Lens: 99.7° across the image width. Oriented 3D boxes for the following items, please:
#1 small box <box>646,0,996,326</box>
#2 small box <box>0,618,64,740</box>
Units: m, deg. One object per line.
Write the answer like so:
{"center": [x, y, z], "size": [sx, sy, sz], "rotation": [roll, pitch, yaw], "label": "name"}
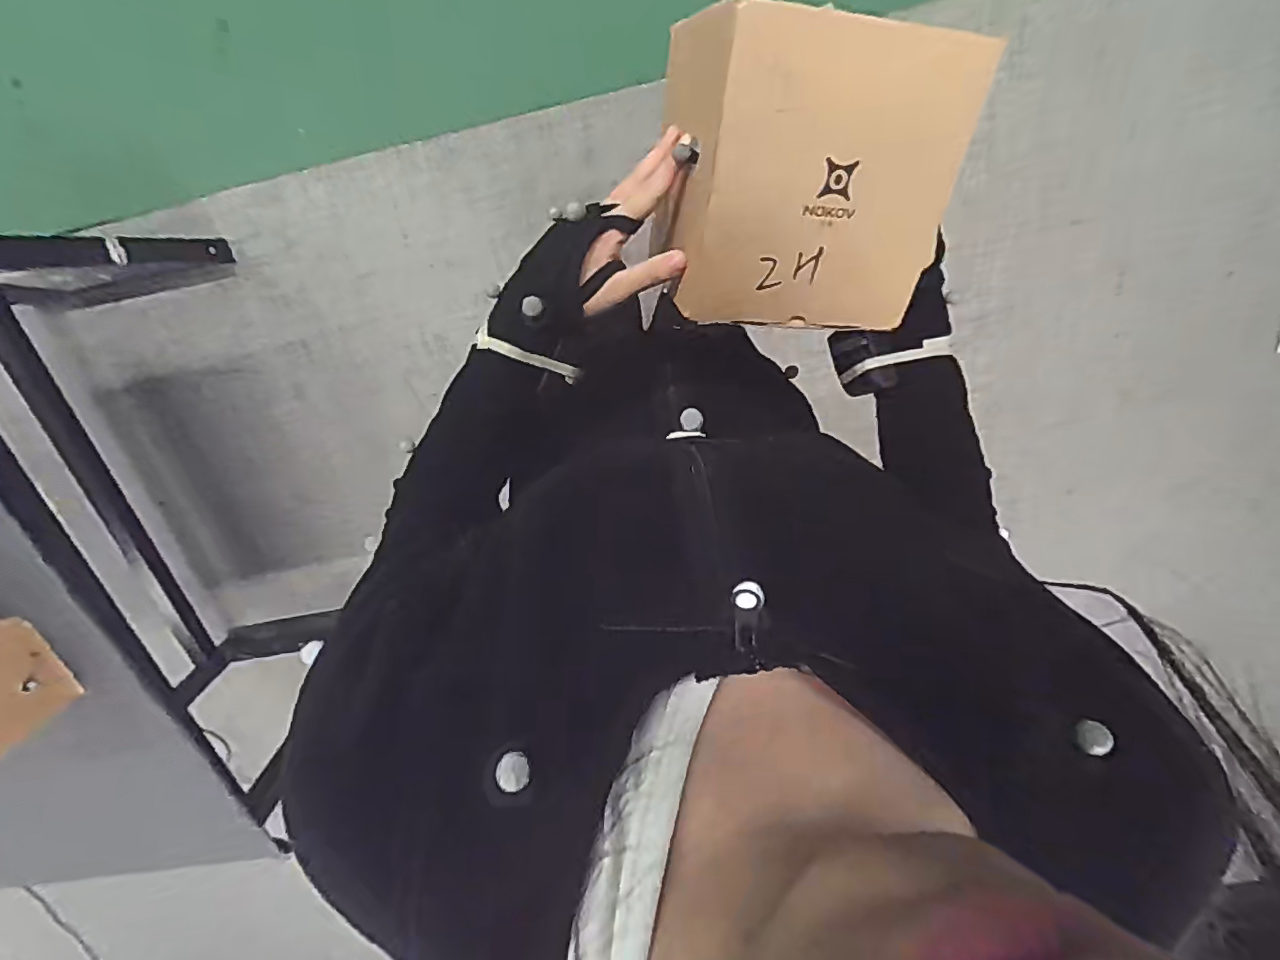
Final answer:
{"center": [0.104, -0.231, 0.405], "size": [0.168, 0.176, 0.179], "rotation": [0, 124, -11], "label": "small box"}
{"center": [-1.060, 0.332, 0.813], "size": [0.179, 0.176, 0.168], "rotation": [-11, 113, 4], "label": "small box"}
